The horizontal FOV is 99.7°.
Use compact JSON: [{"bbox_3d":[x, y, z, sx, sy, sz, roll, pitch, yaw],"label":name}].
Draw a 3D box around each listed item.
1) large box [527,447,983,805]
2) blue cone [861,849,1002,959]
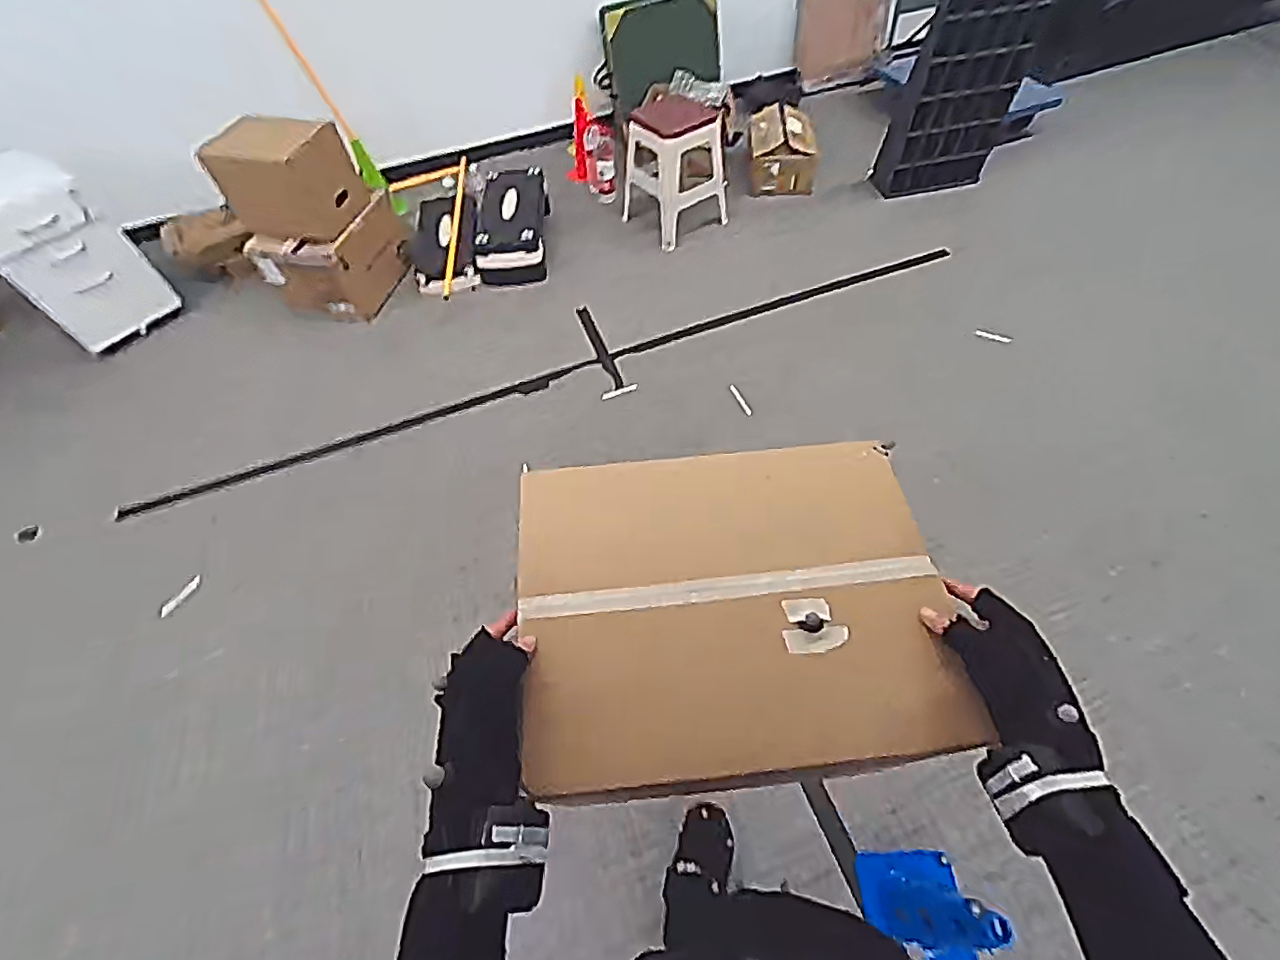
[{"bbox_3d":[0.088,0.190,0.662,0.408,0.320,0.320,-5,58,-2],"label":"large box"},{"bbox_3d":[0.556,0.780,0.980,0.193,0.380,0.192,-2,54,3],"label":"blue cone"}]
